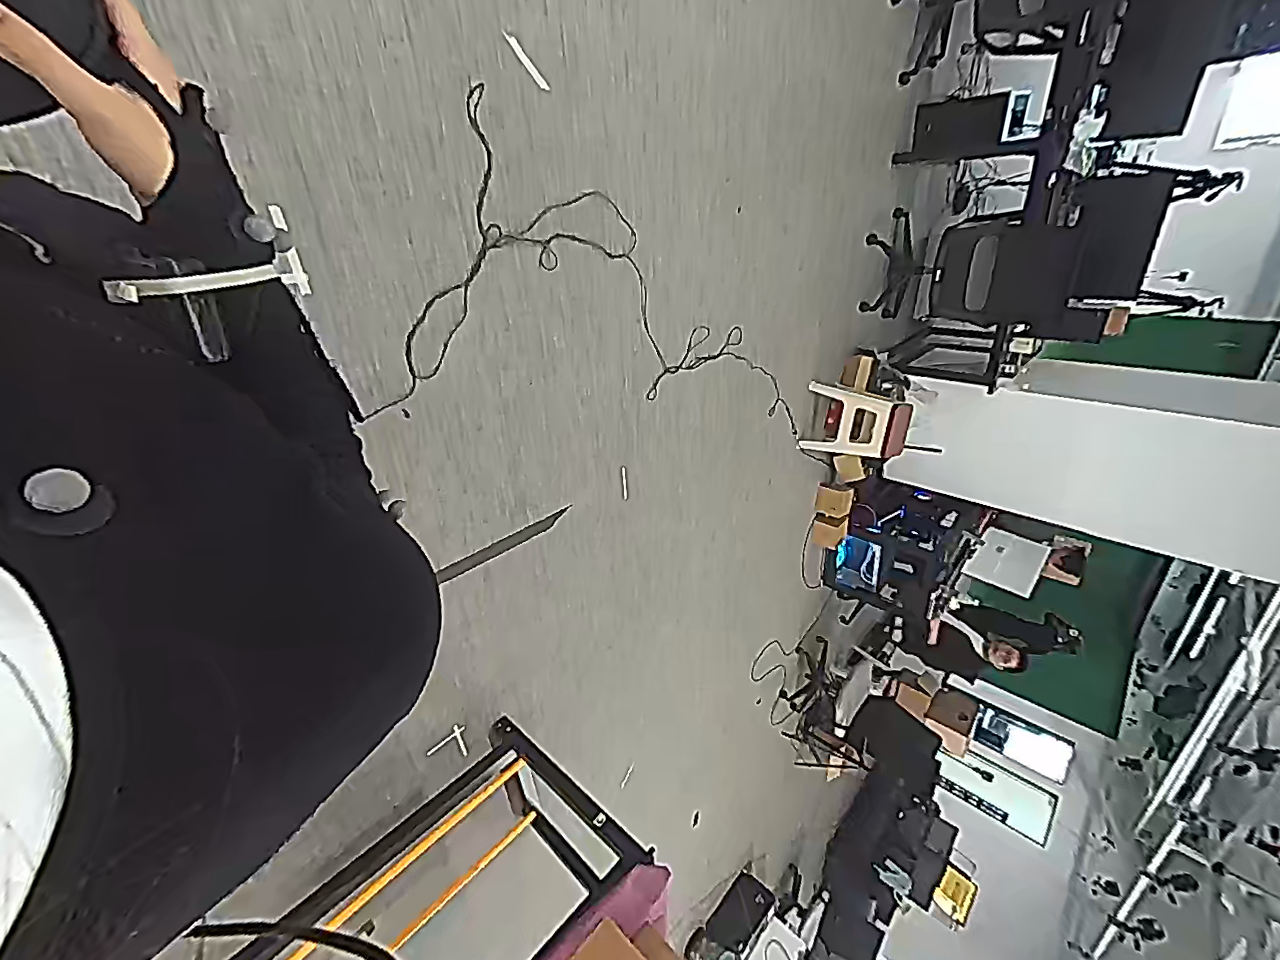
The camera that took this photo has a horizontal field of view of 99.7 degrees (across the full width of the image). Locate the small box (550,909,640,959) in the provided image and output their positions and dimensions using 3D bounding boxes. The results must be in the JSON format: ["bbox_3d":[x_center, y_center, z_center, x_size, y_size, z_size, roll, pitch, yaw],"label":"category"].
[{"bbox_3d":[-0.114,1.237,1.349,0.179,0.176,0.168,-29,128,-37],"label":"small box"}]
